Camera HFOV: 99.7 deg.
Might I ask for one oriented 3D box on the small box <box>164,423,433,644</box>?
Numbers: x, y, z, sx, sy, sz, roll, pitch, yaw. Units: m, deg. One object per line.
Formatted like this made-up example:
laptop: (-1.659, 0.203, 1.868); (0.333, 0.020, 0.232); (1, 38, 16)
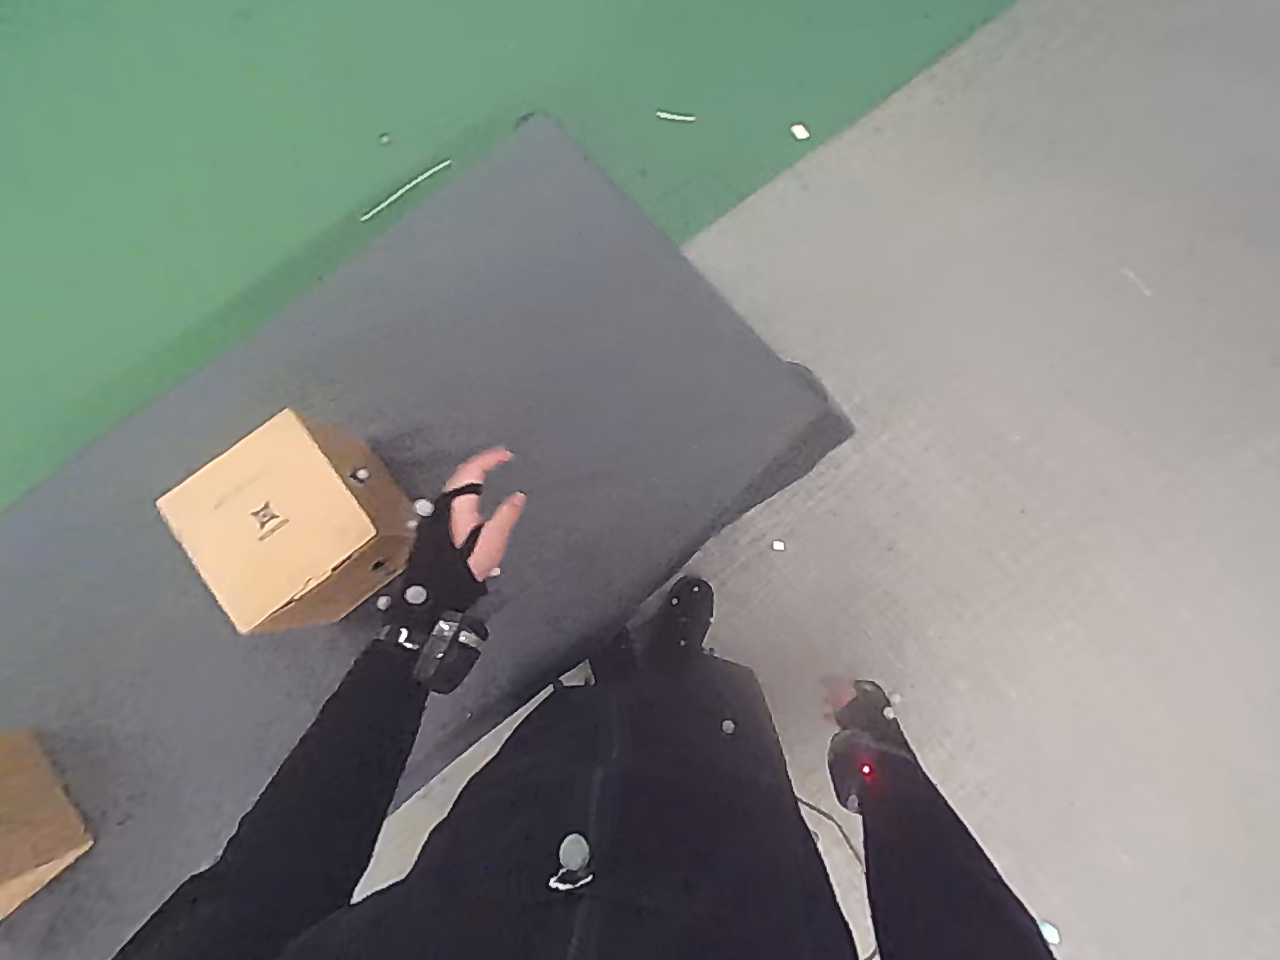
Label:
small box: (-0.381, 0.064, 0.640); (0.168, 0.176, 0.179); (-39, 82, -7)

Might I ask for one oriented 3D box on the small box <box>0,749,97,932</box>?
small box: (-0.771, 0.421, 0.582); (0.168, 0.176, 0.179); (-40, 83, -6)
